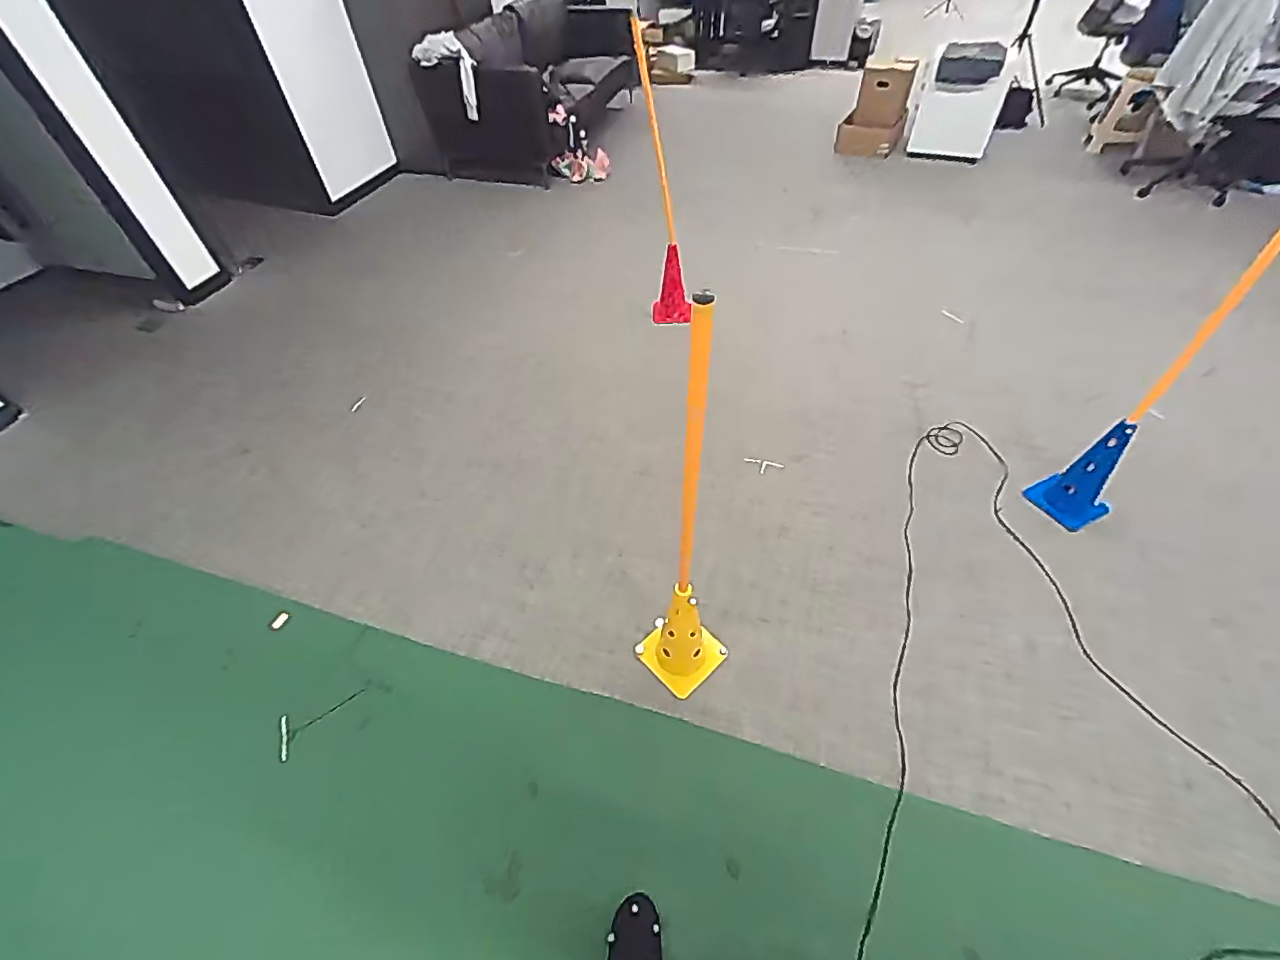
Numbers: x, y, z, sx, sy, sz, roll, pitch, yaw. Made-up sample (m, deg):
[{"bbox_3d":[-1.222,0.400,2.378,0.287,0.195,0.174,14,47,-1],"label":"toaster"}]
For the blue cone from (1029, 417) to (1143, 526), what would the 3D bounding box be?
[{"bbox_3d":[1.453,-0.050,1.727,0.193,0.380,0.192,-21,49,-19],"label":"blue cone"}]
